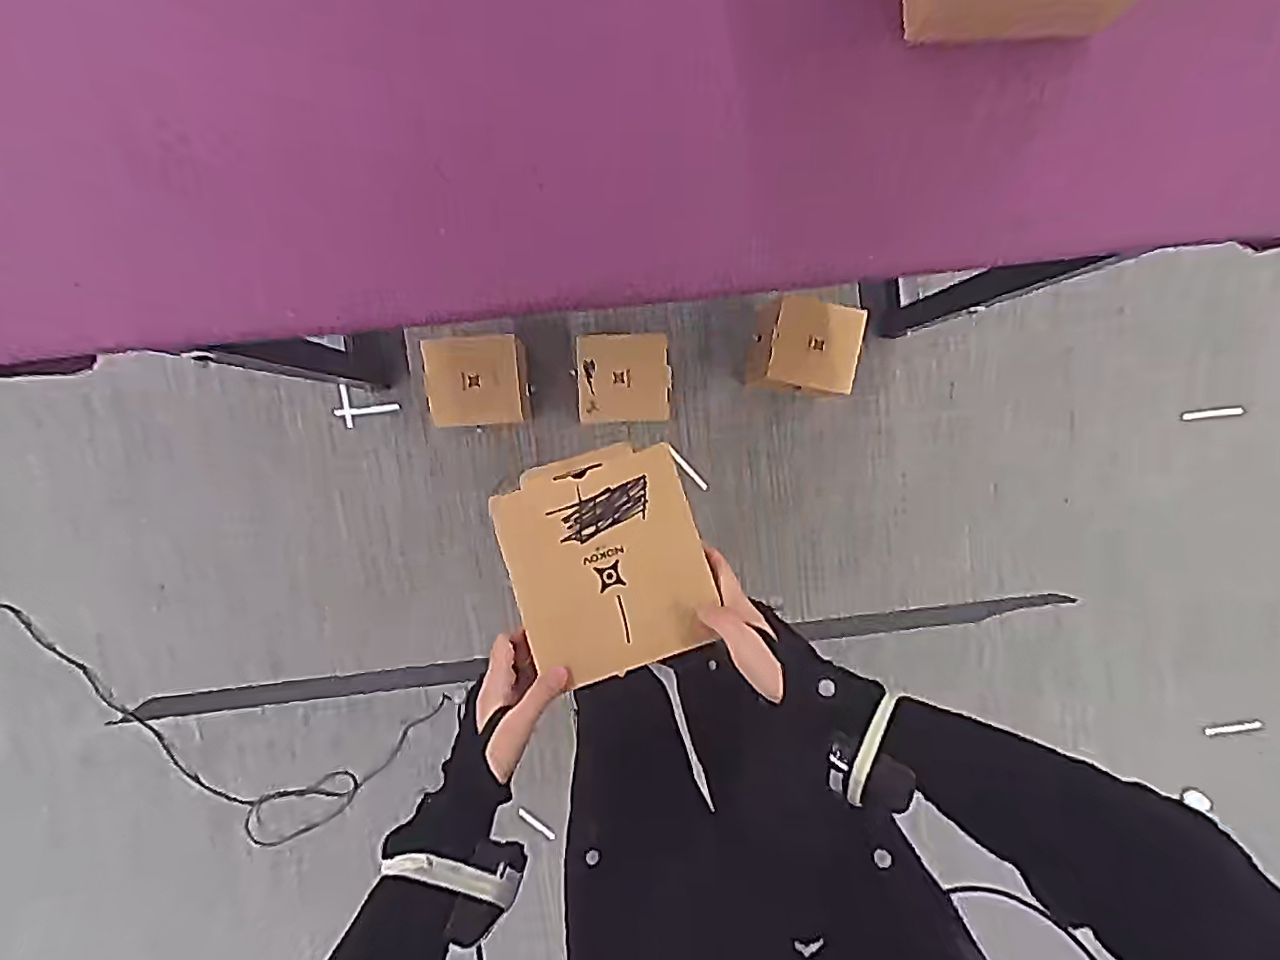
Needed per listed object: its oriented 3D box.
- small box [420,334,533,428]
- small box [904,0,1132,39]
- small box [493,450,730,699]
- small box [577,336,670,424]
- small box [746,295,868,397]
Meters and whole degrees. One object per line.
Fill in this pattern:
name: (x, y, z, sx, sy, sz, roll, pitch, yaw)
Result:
small box: (-0.320, -0.193, 1.090, 0.179, 0.176, 0.168, -5, 97, -4)
small box: (0.309, -0.448, 0.372, 0.179, 0.176, 0.168, -5, 94, -3)
small box: (-0.028, 0.089, 0.540, 0.168, 0.176, 0.179, -18, 83, -3)
small box: (-0.037, -0.199, 1.106, 0.179, 0.176, 0.168, -2, 95, -4)
small box: (0.337, -0.268, 1.124, 0.179, 0.176, 0.168, 11, 95, -3)
